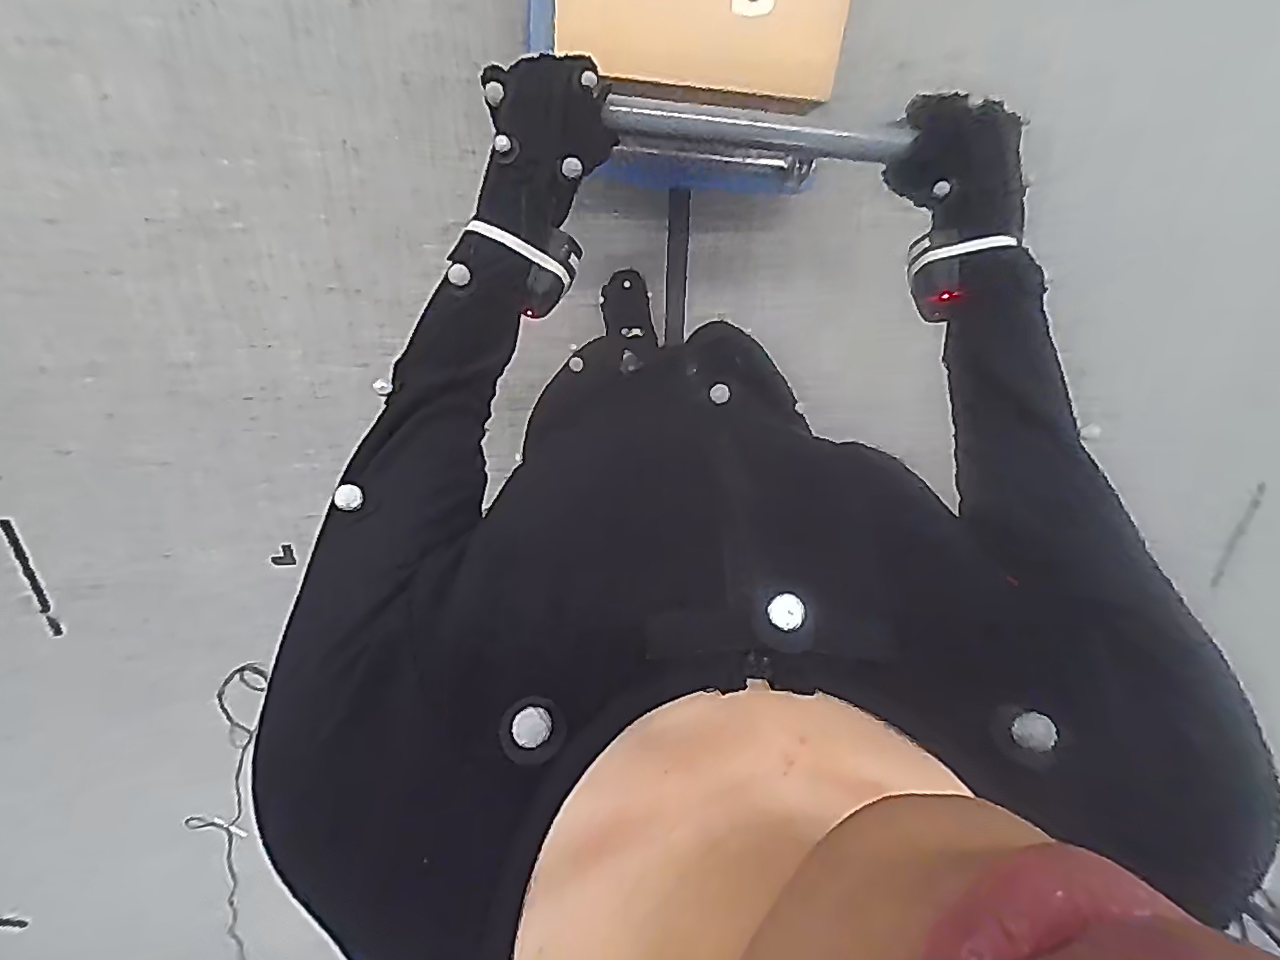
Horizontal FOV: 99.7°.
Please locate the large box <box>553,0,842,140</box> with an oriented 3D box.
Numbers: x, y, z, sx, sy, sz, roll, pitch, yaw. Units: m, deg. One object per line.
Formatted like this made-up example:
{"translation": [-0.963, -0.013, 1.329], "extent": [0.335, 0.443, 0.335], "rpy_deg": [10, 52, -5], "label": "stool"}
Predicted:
{"translation": [0.072, -0.756, 0.852], "extent": [0.408, 0.320, 0.320], "rpy_deg": [2, 114, -6], "label": "large box"}
